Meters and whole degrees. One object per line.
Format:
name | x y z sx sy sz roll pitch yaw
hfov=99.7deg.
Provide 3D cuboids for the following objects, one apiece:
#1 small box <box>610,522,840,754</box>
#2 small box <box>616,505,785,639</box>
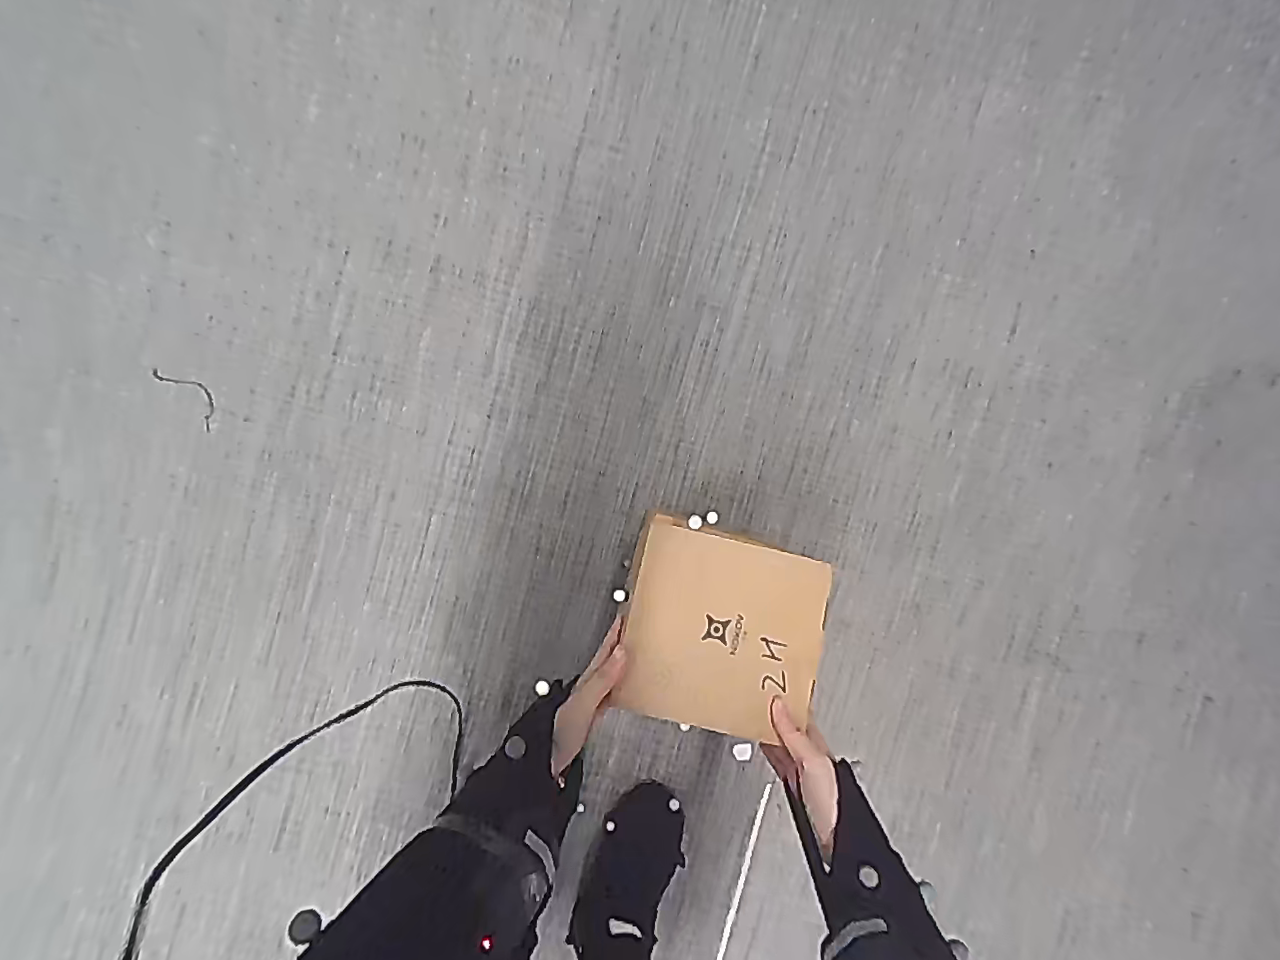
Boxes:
small box | 0.072 0.146 0.550 0.179 0.176 0.168 14 82 -2
small box | 0.072 0.141 0.726 0.168 0.176 0.179 17 90 -2
